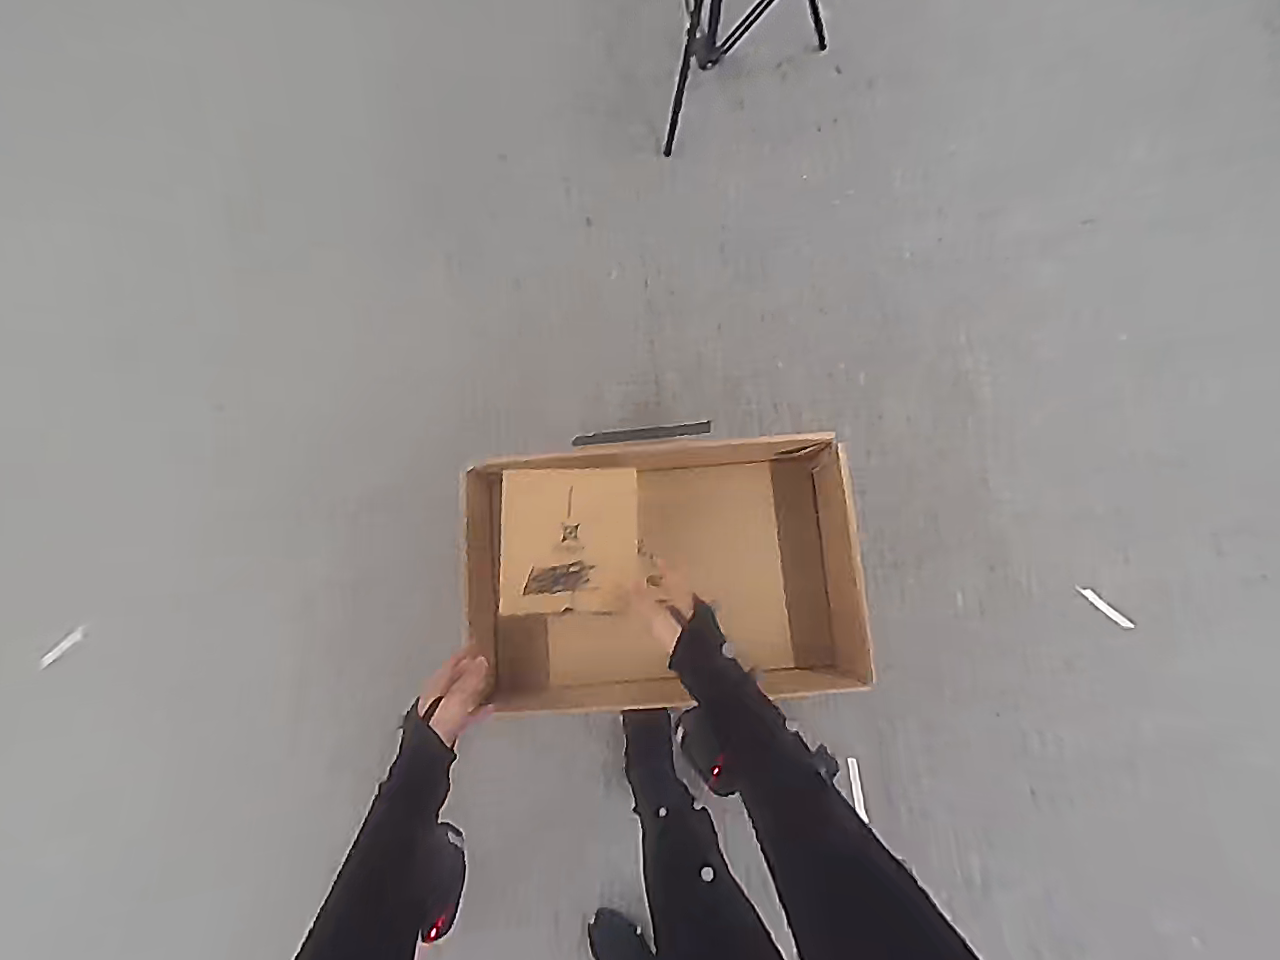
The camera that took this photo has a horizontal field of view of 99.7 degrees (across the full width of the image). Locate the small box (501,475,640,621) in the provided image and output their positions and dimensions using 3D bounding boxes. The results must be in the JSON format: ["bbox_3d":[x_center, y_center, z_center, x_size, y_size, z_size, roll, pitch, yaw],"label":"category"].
[{"bbox_3d":[-0.083,0.091,0.730,0.168,0.176,0.179,0,81,-1],"label":"small box"}]
